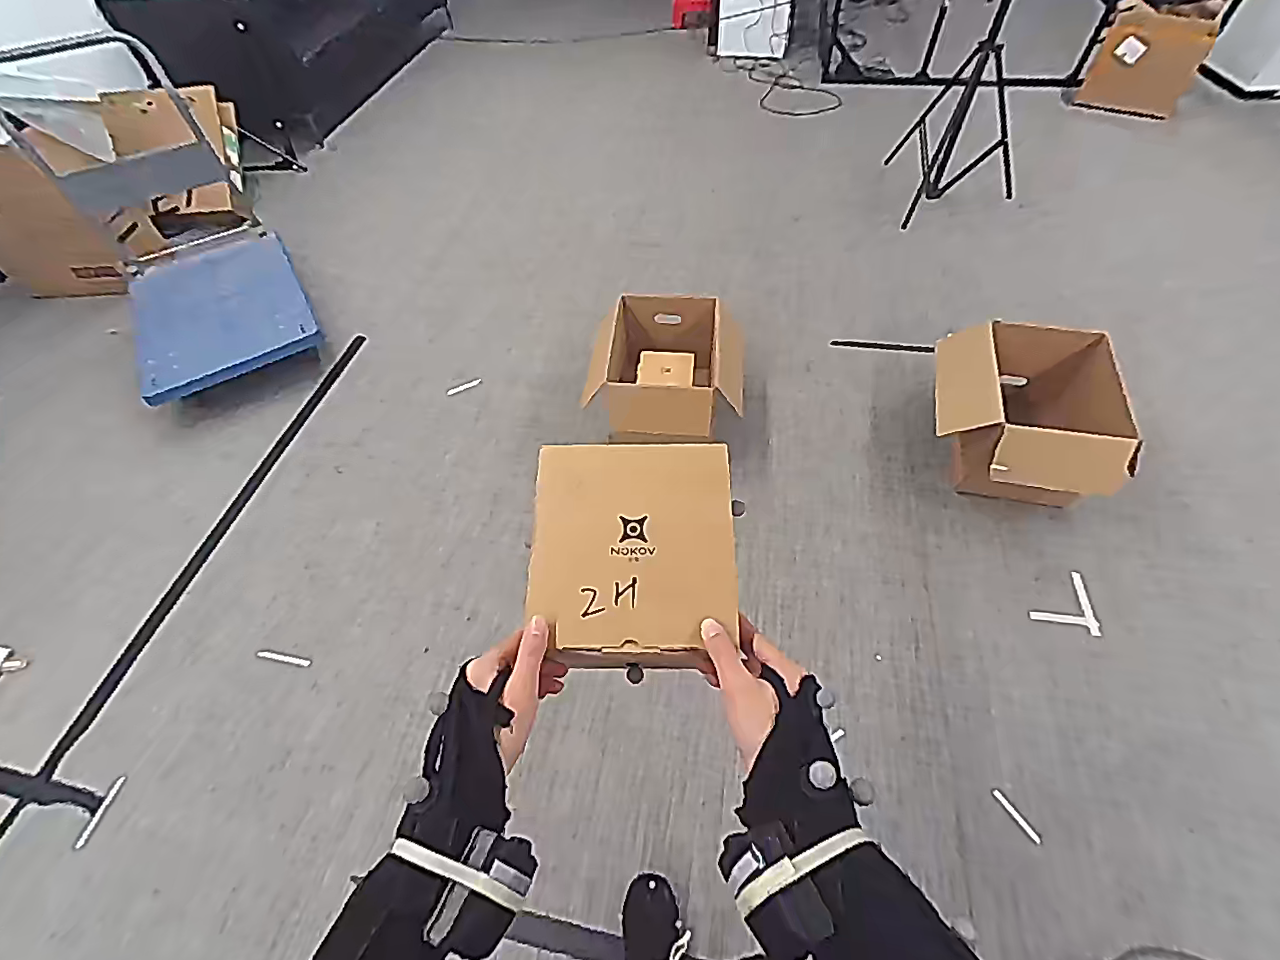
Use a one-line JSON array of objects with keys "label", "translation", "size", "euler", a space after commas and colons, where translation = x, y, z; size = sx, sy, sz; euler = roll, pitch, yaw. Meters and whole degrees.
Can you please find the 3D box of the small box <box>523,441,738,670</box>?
[{"label": "small box", "translation": [-0.004, 0.078, 0.513], "size": [0.168, 0.176, 0.179], "euler": [0, 66, 2]}]
